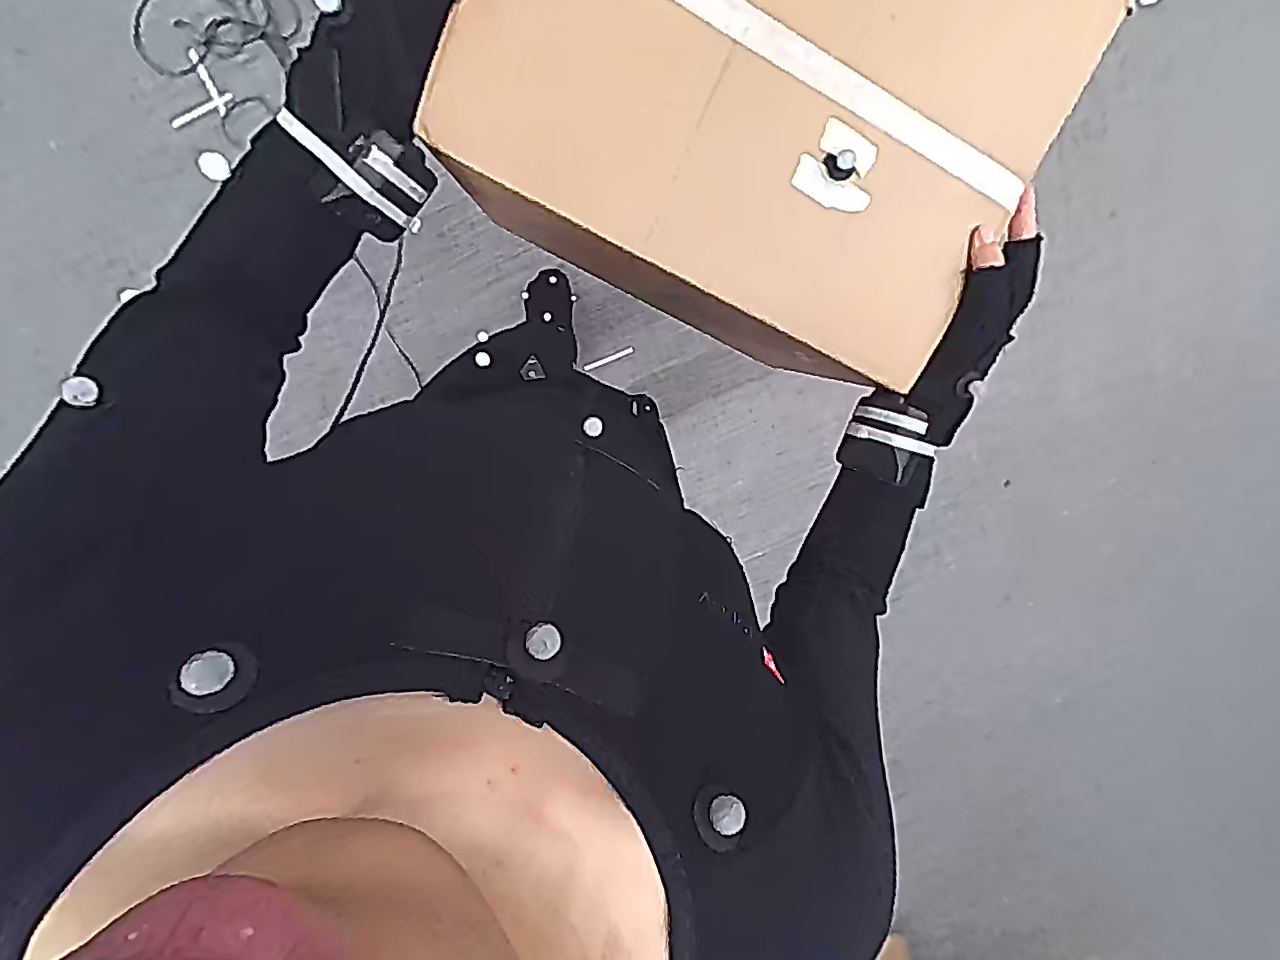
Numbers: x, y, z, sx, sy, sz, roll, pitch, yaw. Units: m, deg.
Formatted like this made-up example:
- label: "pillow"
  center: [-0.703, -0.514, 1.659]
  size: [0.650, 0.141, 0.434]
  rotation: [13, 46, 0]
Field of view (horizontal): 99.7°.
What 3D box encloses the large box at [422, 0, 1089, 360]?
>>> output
- label: "large box"
  center: [0.073, -0.339, 0.513]
  size: [0.408, 0.320, 0.320]
  rotation: [22, 102, -11]
